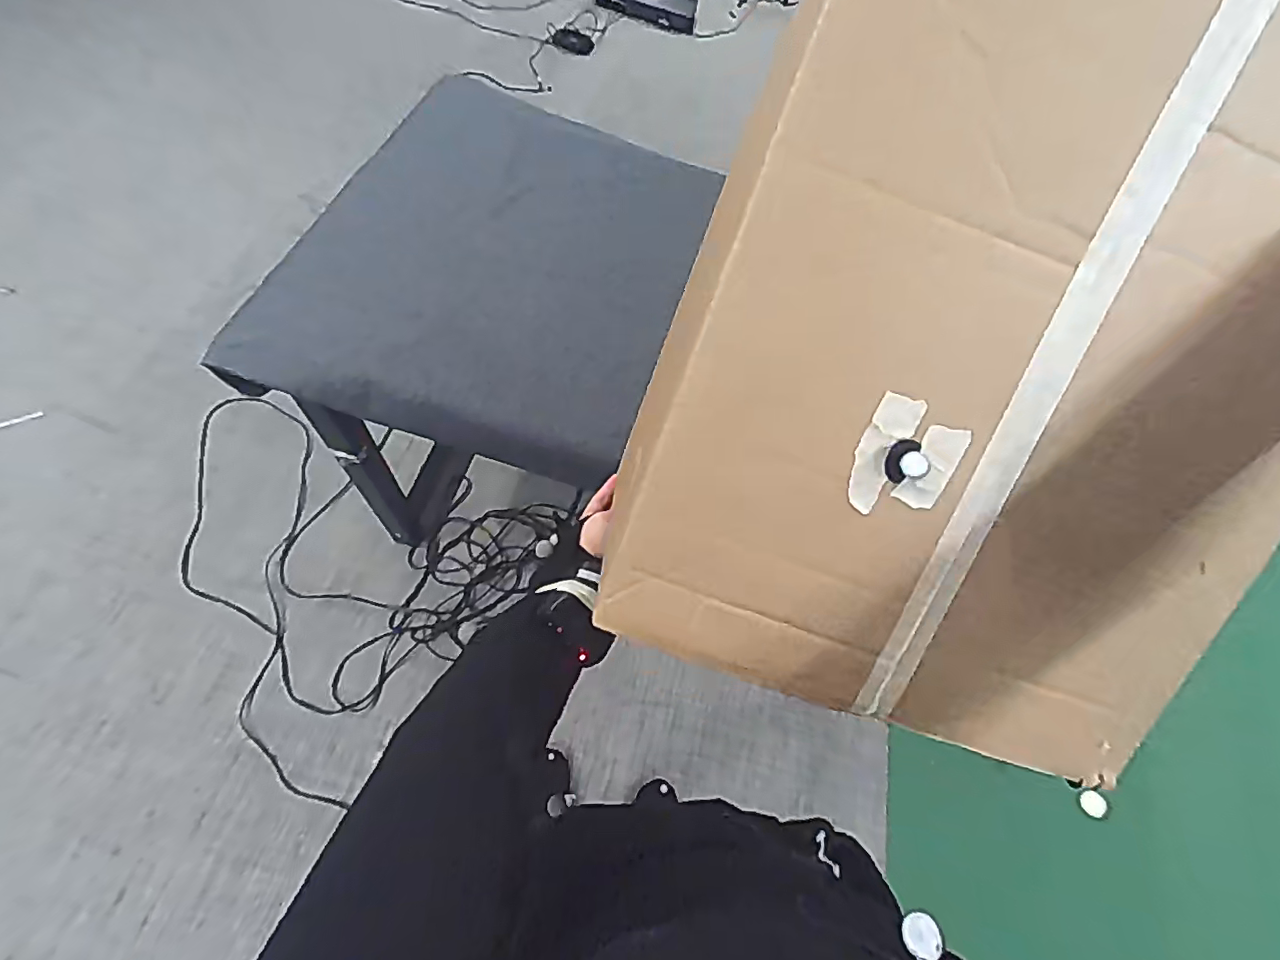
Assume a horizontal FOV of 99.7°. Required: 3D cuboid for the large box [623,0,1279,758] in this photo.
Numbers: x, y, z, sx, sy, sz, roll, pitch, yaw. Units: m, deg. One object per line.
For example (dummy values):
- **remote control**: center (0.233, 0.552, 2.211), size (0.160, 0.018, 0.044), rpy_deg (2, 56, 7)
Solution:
- **large box**: center (0.193, -0.092, 0.417), size (0.320, 0.320, 0.408), rpy_deg (19, 104, -5)
